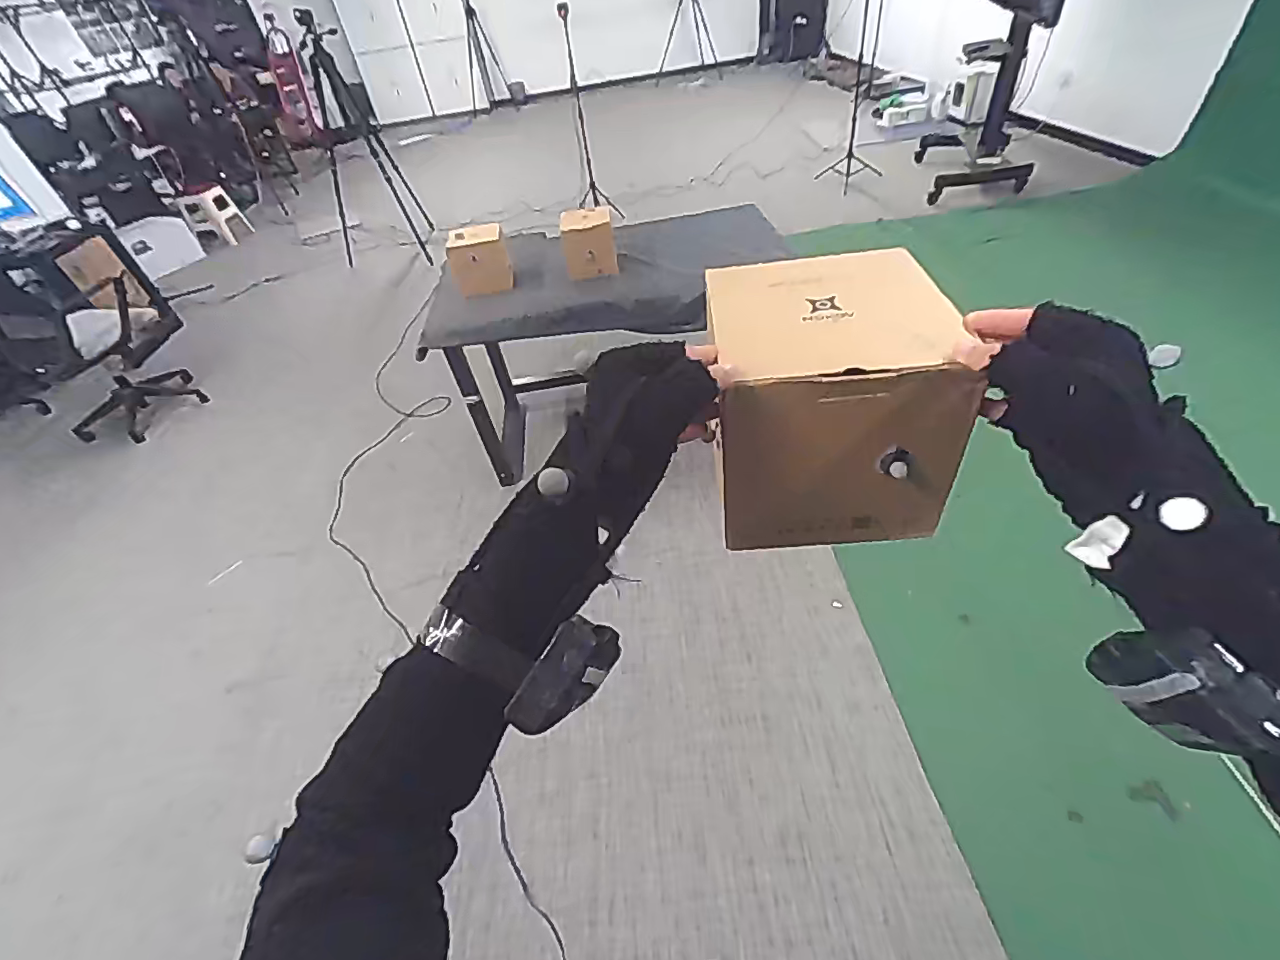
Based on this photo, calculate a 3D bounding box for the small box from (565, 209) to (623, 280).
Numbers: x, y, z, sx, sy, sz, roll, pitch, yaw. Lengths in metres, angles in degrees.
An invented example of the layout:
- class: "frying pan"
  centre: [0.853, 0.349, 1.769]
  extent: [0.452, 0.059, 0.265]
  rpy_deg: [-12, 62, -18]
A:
- class: "small box"
  centre: [-0.153, -0.788, 1.823]
  extent: [0.168, 0.176, 0.179]
  rpy_deg: [-8, 44, 2]

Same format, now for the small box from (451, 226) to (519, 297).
- class: "small box"
  centre: [-0.520, -0.738, 1.835]
  extent: [0.179, 0.176, 0.168]
  rpy_deg: [-10, 44, -2]
